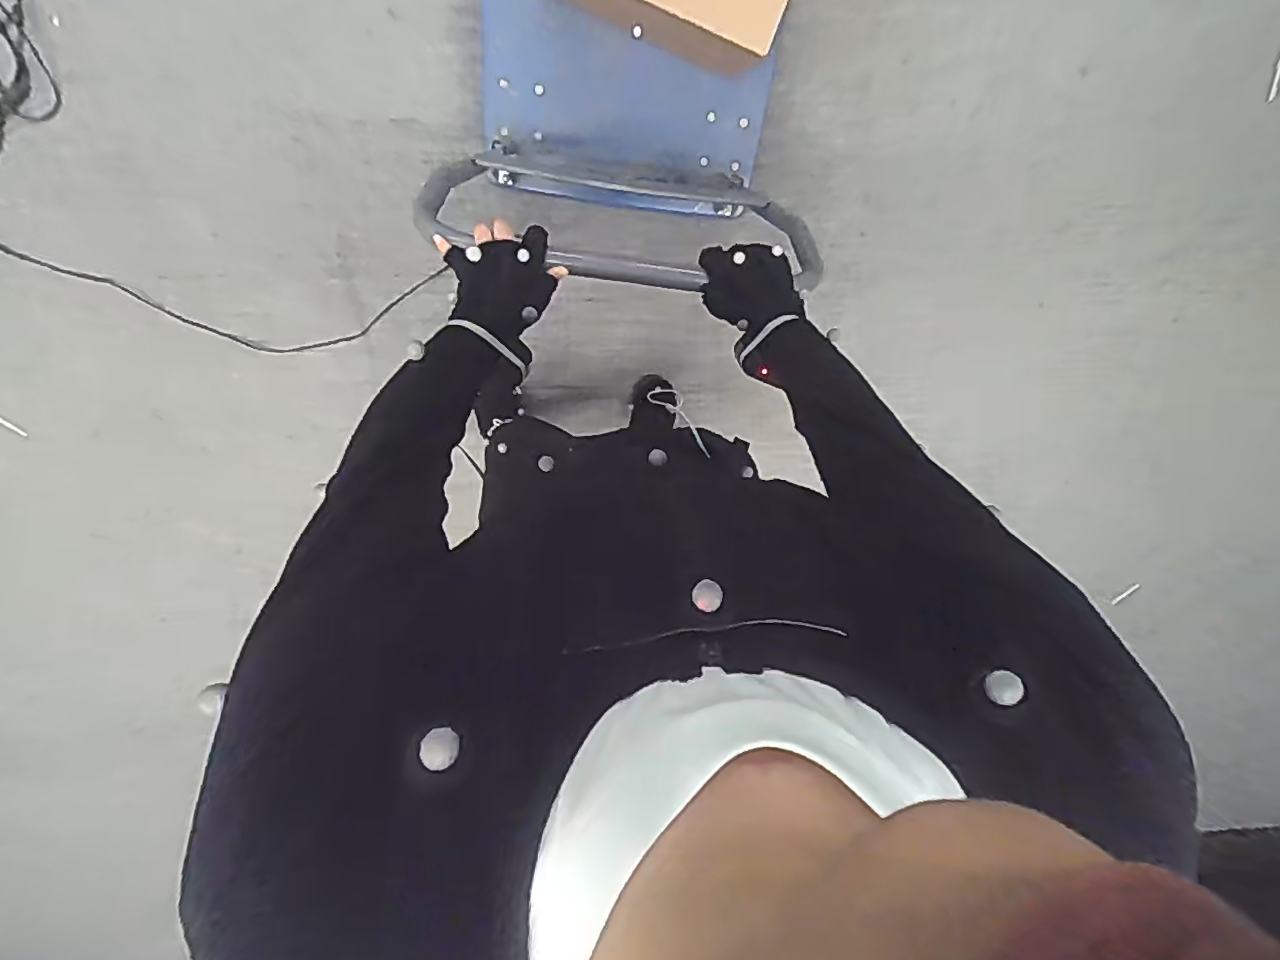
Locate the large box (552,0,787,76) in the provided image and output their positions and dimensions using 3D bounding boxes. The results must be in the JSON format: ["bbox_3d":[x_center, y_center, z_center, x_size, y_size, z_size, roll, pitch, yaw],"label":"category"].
[{"bbox_3d":[0.051,-0.898,0.848,0.408,0.320,0.320,16,119,-11],"label":"large box"}]
